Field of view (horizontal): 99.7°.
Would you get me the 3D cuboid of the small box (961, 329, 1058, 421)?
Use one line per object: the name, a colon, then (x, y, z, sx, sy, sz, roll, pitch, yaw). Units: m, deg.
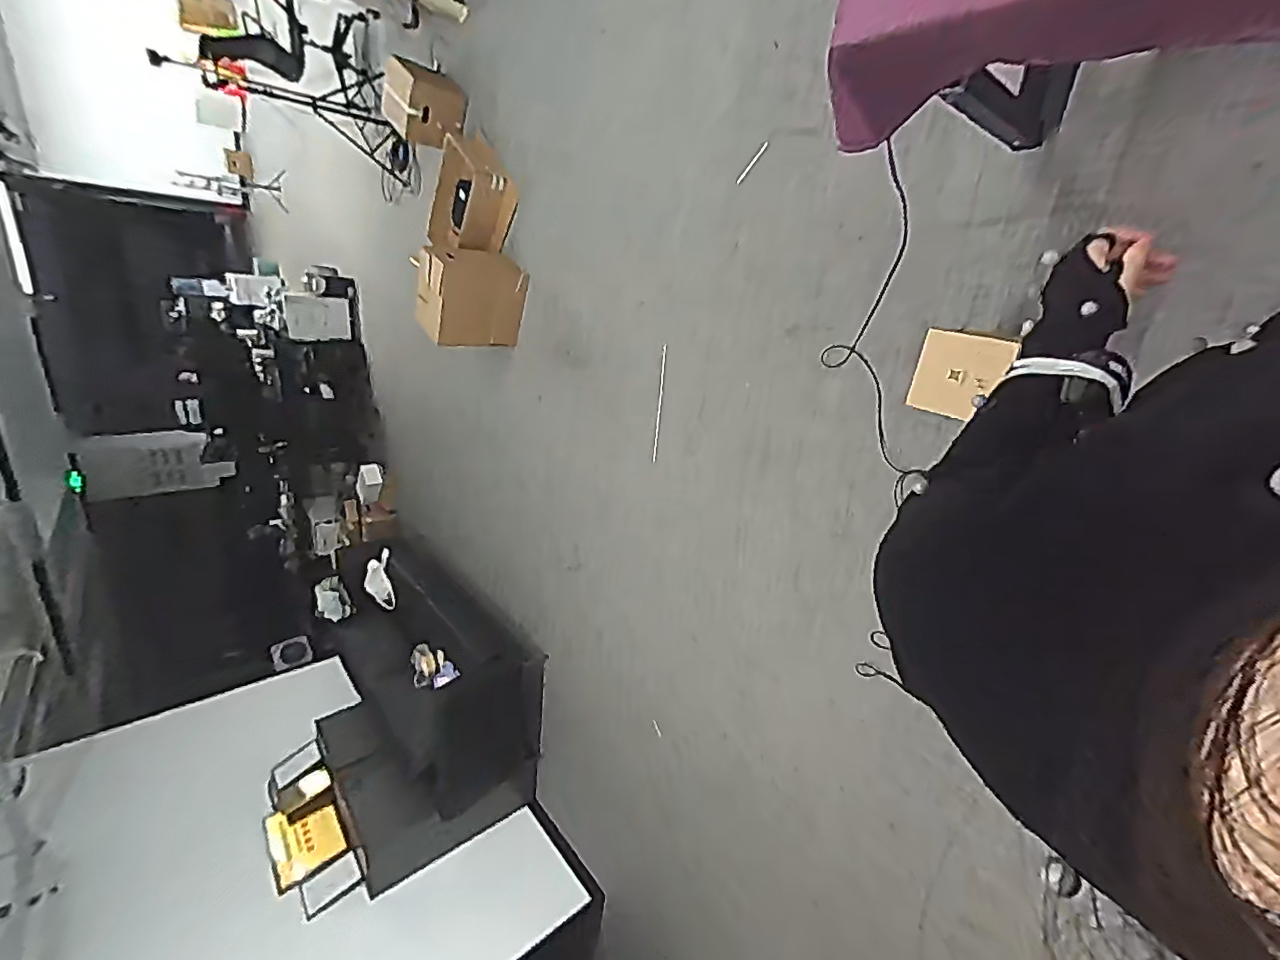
small box: (0.829, -0.246, 1.252, 0.168, 0.176, 0.179, 28, 117, 42)

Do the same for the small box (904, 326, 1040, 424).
small box: (0.703, -0.226, 1.149, 0.179, 0.176, 0.168, 29, 120, 42)
